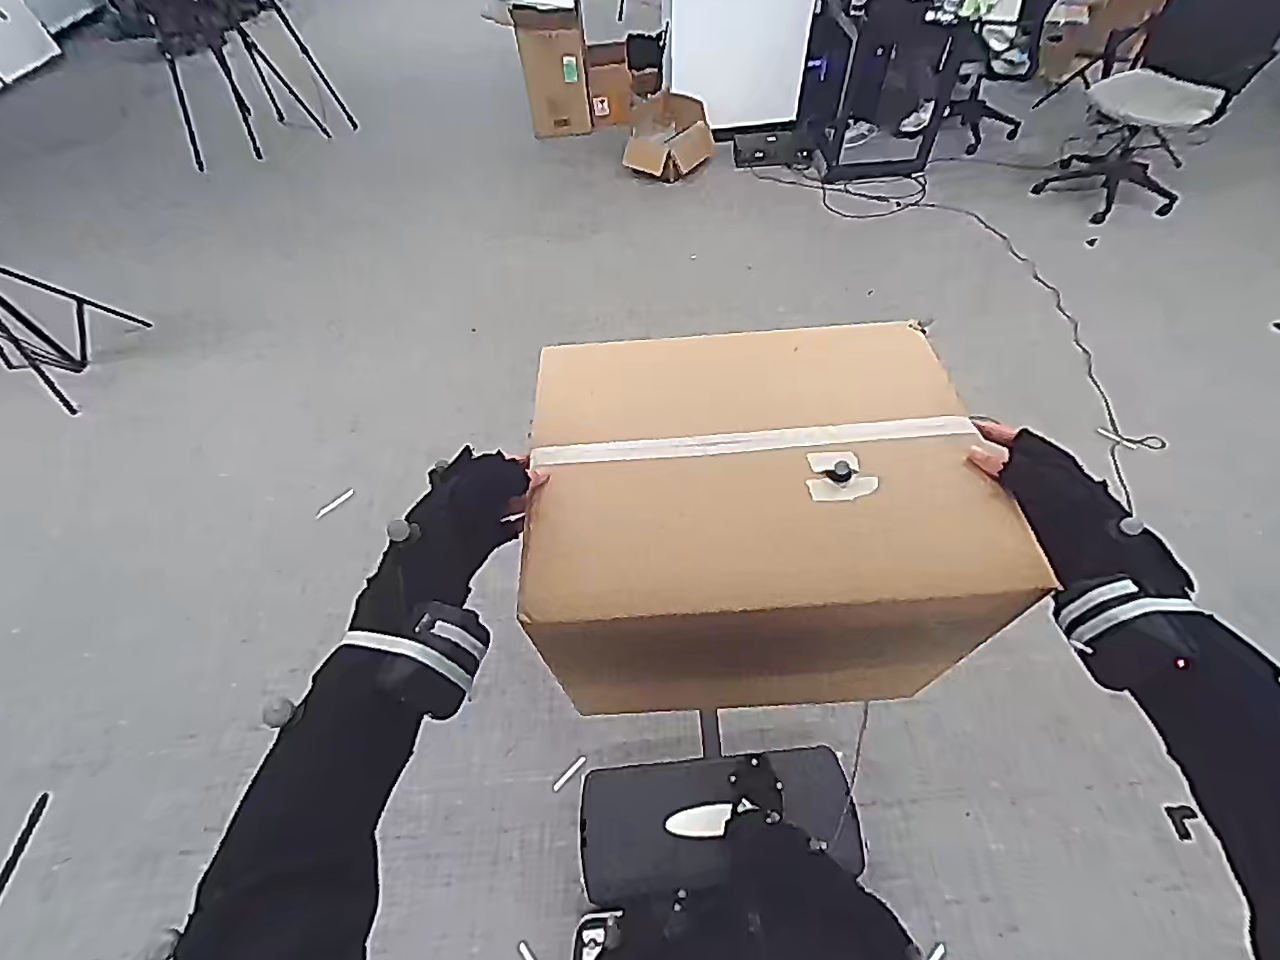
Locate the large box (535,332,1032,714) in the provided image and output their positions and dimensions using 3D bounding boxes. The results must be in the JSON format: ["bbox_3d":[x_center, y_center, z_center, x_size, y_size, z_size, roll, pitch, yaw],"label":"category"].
[{"bbox_3d":[0.109,0.061,0.630,0.408,0.320,0.320,-4,55,0],"label":"large box"}]

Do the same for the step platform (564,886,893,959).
[{"bbox_3d":[0.181,1.055,1.122,0.684,0.204,0.286,-7,54,1],"label":"step platform"}]
